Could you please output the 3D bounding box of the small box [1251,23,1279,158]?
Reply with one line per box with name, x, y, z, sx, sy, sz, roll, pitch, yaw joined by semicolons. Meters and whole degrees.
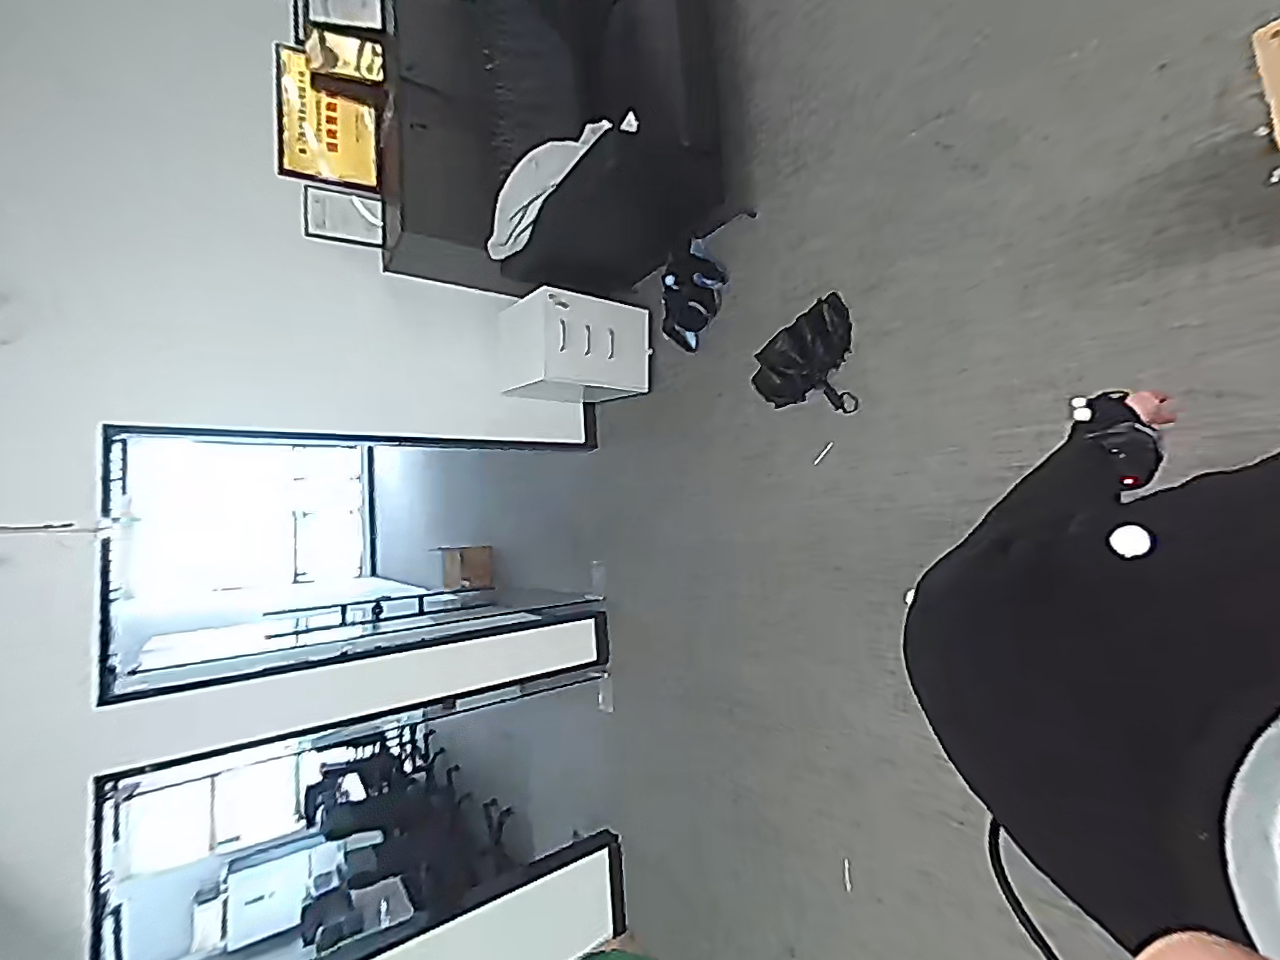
small box;0.955;-0.533;0.710;0.168;0.176;0.179;-15;80;54
